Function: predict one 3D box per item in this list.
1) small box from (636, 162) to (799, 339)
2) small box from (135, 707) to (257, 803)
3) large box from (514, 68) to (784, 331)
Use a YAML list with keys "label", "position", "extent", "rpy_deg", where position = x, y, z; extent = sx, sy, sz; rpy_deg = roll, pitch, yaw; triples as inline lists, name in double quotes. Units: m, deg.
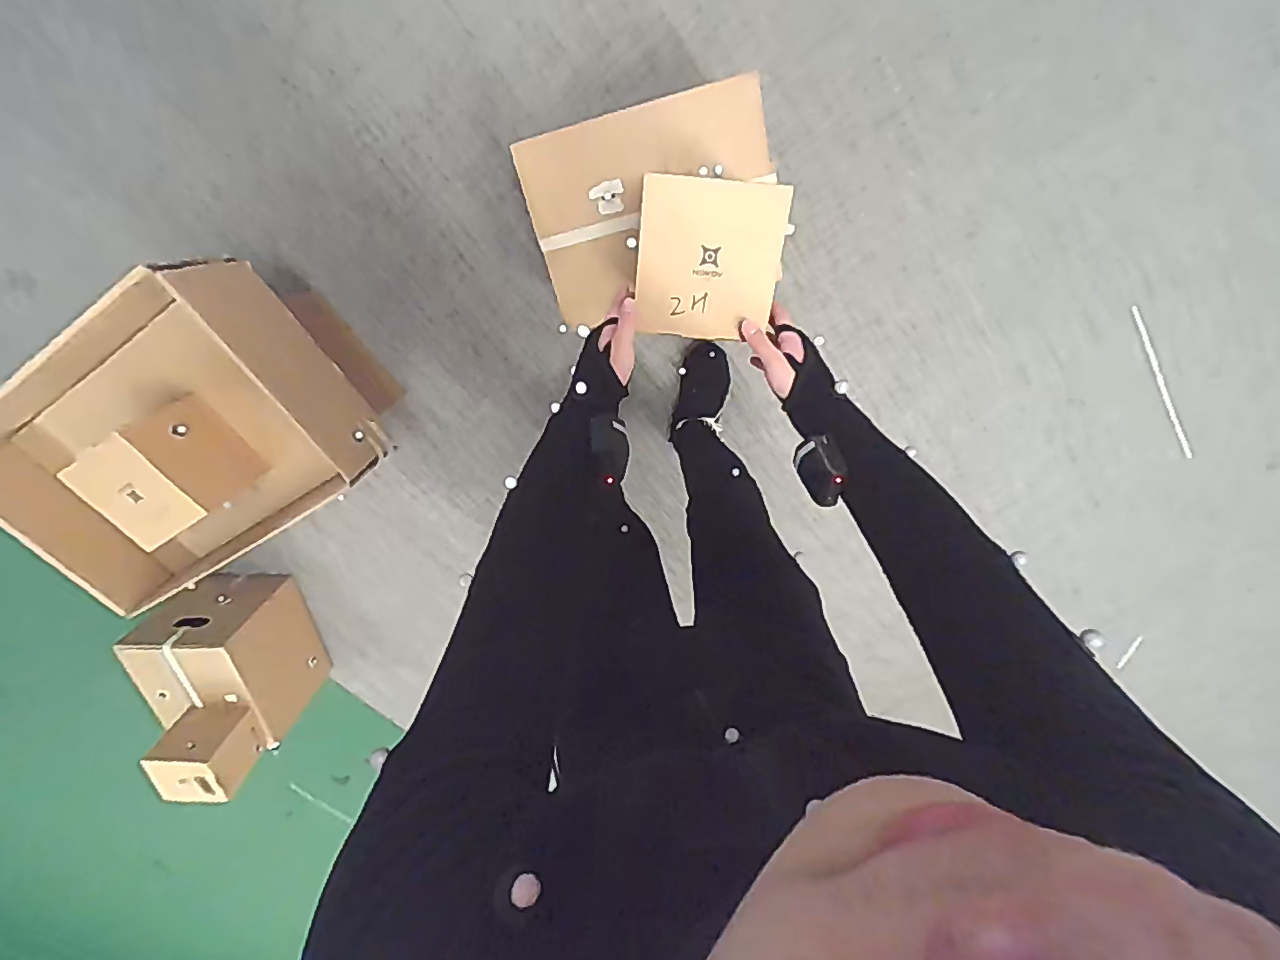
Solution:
- label: "small box"
  position: [0.085, -0.294, 0.688]
  extent: [0.168, 0.176, 0.179]
  rpy_deg: [6, 120, -1]
- label: "small box"
  position: [-1.175, 0.736, 1.454]
  extent: [0.179, 0.176, 0.168]
  rpy_deg: [2, 117, 0]
- label: "large box"
  position: [0.030, -0.519, 1.036]
  extent: [0.408, 0.320, 0.320]
  rpy_deg: [-11, 116, 9]
